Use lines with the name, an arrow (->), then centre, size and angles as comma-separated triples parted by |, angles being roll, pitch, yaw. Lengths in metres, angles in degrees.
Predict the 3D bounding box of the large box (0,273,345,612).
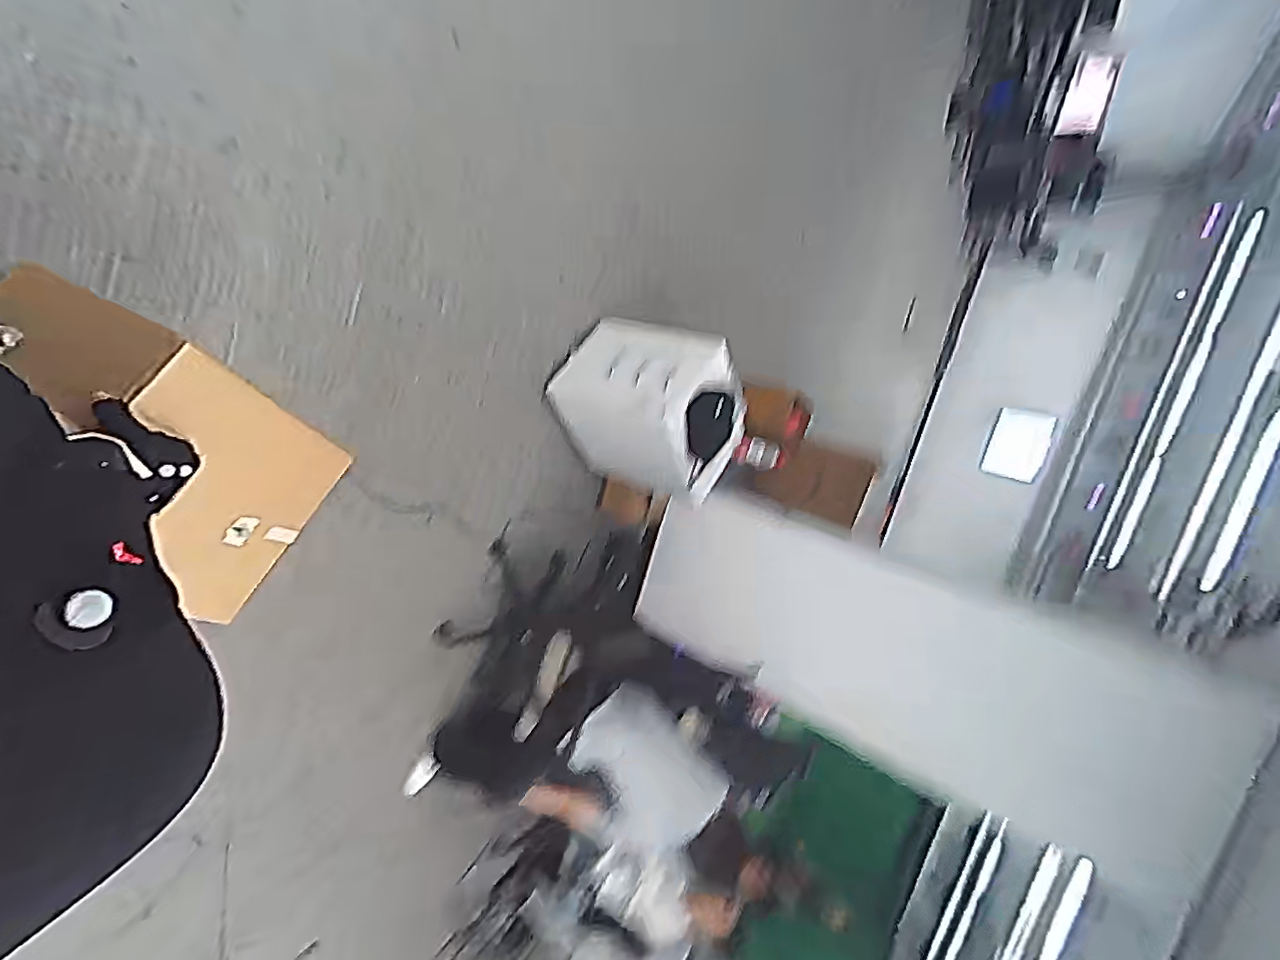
large box -> -0.754, -0.043, 0.800 | 0.320, 0.408, 0.320 | -62, 160, -16
